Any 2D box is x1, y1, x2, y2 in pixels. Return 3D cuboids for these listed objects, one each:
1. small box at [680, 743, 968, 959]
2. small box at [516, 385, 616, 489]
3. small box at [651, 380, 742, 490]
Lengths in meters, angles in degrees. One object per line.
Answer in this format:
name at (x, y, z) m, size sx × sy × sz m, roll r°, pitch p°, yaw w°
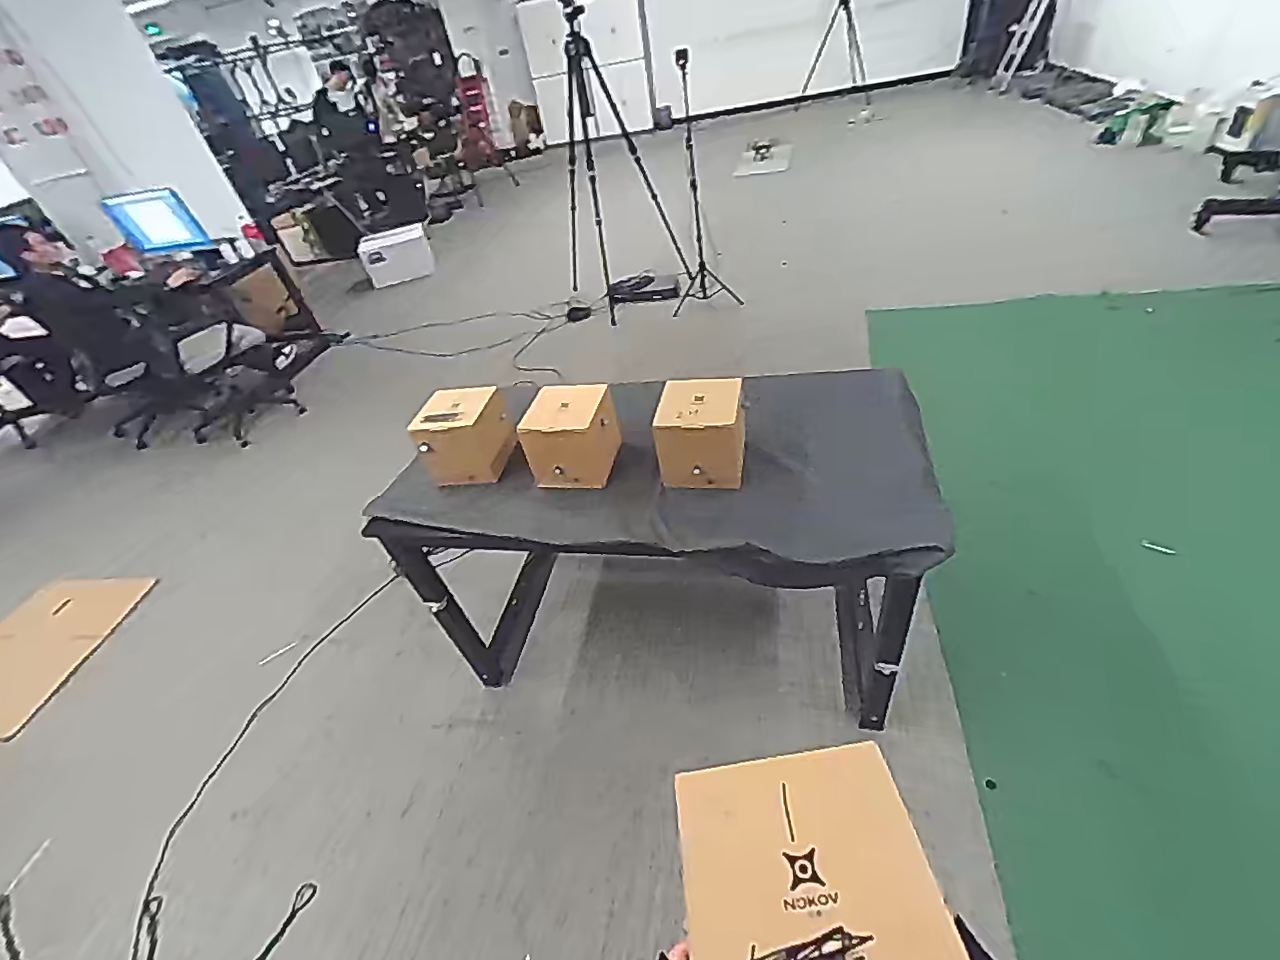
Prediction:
small box at (0.131, 0.335, 0.407) m, size 0.168 × 0.176 × 0.179 m, roll -11°, pitch 34°, yaw 6°
small box at (-0.159, -0.101, 1.243) m, size 0.168 × 0.176 × 0.179 m, roll 2°, pitch 43°, yaw 15°
small box at (0.130, -0.100, 1.168) m, size 0.168 × 0.176 × 0.179 m, roll 1°, pitch 42°, yaw 16°
